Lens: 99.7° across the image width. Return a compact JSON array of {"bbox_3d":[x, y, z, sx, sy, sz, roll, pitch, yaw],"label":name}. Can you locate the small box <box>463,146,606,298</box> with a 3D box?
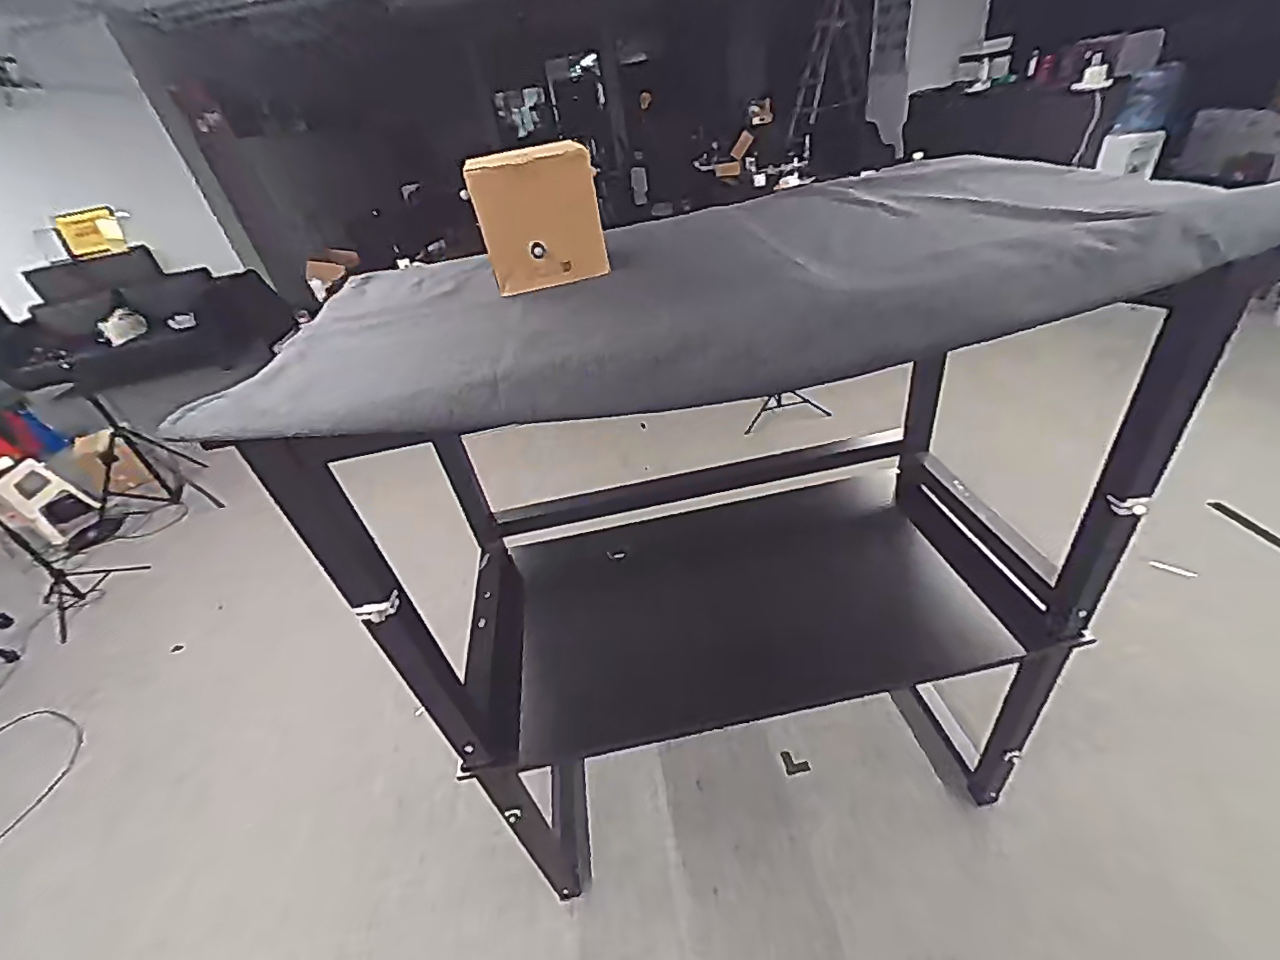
[{"bbox_3d":[-0.156,-0.389,0.815,0.168,0.176,0.179,-16,37,-6],"label":"small box"}]
